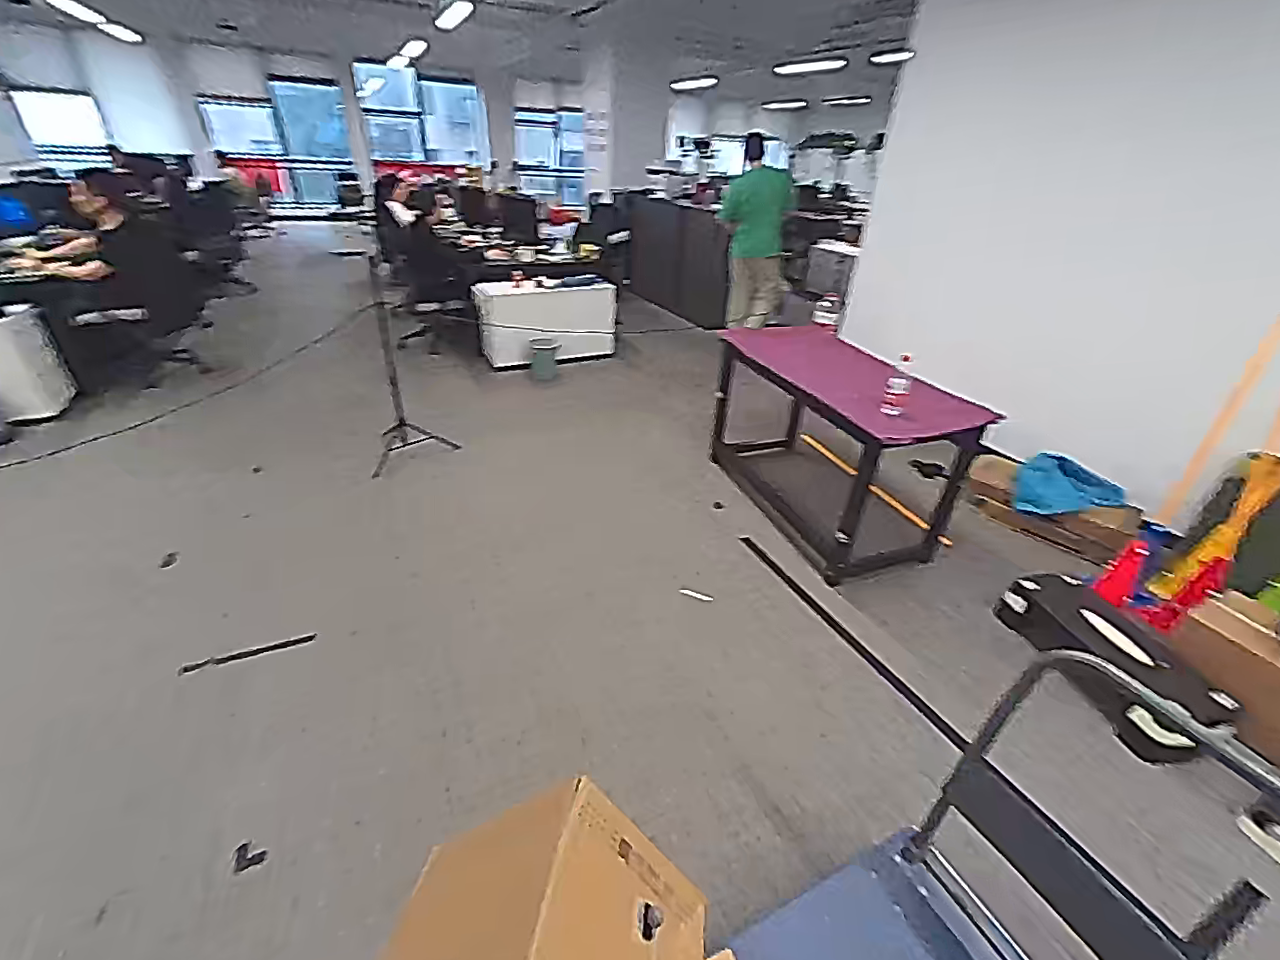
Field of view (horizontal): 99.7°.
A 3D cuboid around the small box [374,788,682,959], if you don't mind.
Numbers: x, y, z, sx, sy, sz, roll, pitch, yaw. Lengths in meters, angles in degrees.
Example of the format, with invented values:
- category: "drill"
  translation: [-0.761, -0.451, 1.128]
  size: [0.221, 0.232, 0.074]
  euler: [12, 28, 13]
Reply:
- category: "small box"
  translation: [-0.083, 0.368, 0.385]
  size: [0.179, 0.168, 0.176]
  euler: [-35, 13, 16]
